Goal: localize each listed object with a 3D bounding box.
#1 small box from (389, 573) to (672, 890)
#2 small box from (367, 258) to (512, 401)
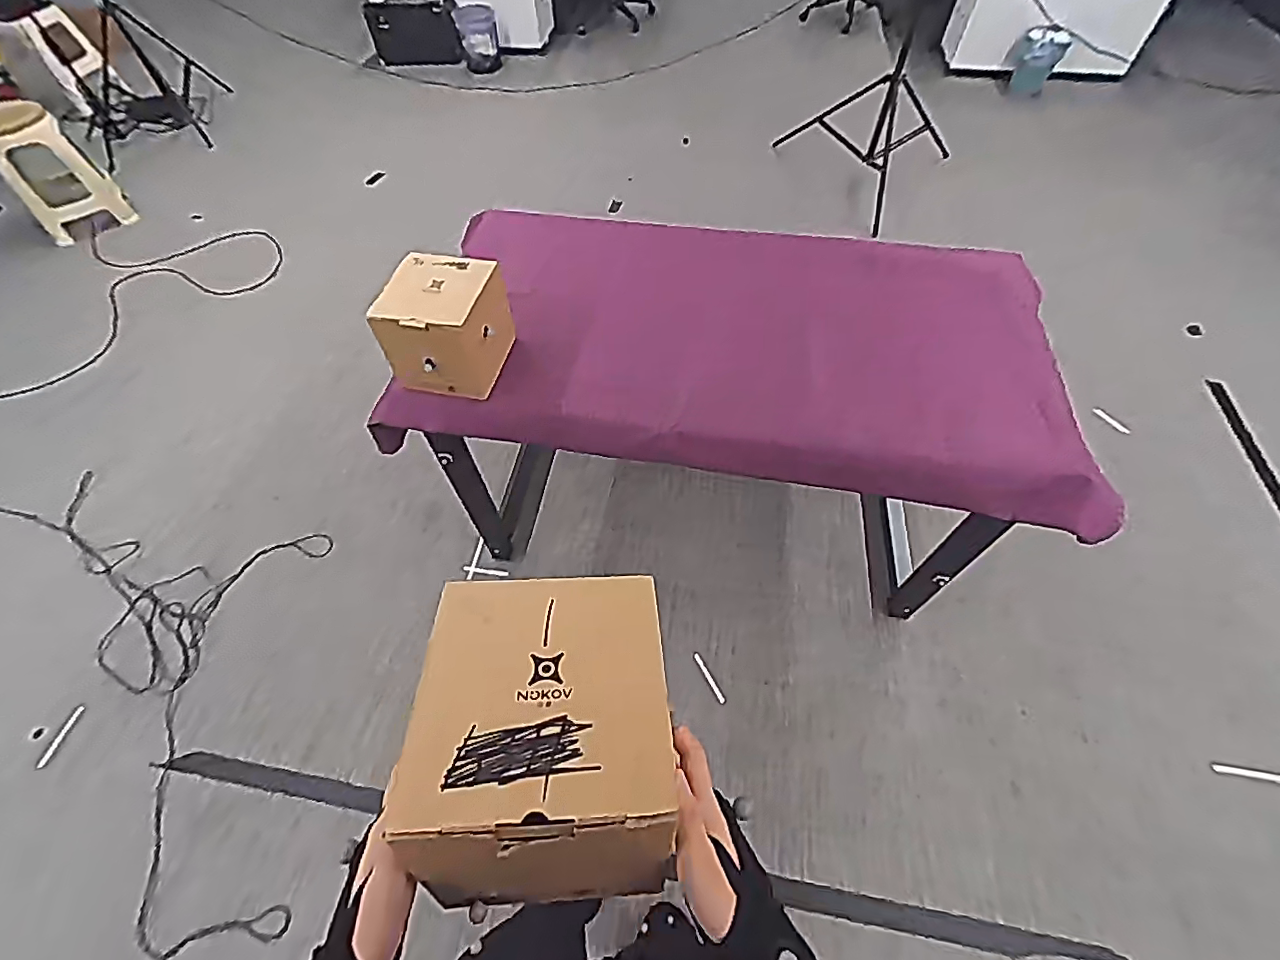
[{"bbox_3d":[-0.067,0.195,0.420,0.168,0.176,0.179,-1,40,-4],"label":"small box"},{"bbox_3d":[-0.341,-0.264,0.964,0.168,0.176,0.179,9,57,6],"label":"small box"}]
